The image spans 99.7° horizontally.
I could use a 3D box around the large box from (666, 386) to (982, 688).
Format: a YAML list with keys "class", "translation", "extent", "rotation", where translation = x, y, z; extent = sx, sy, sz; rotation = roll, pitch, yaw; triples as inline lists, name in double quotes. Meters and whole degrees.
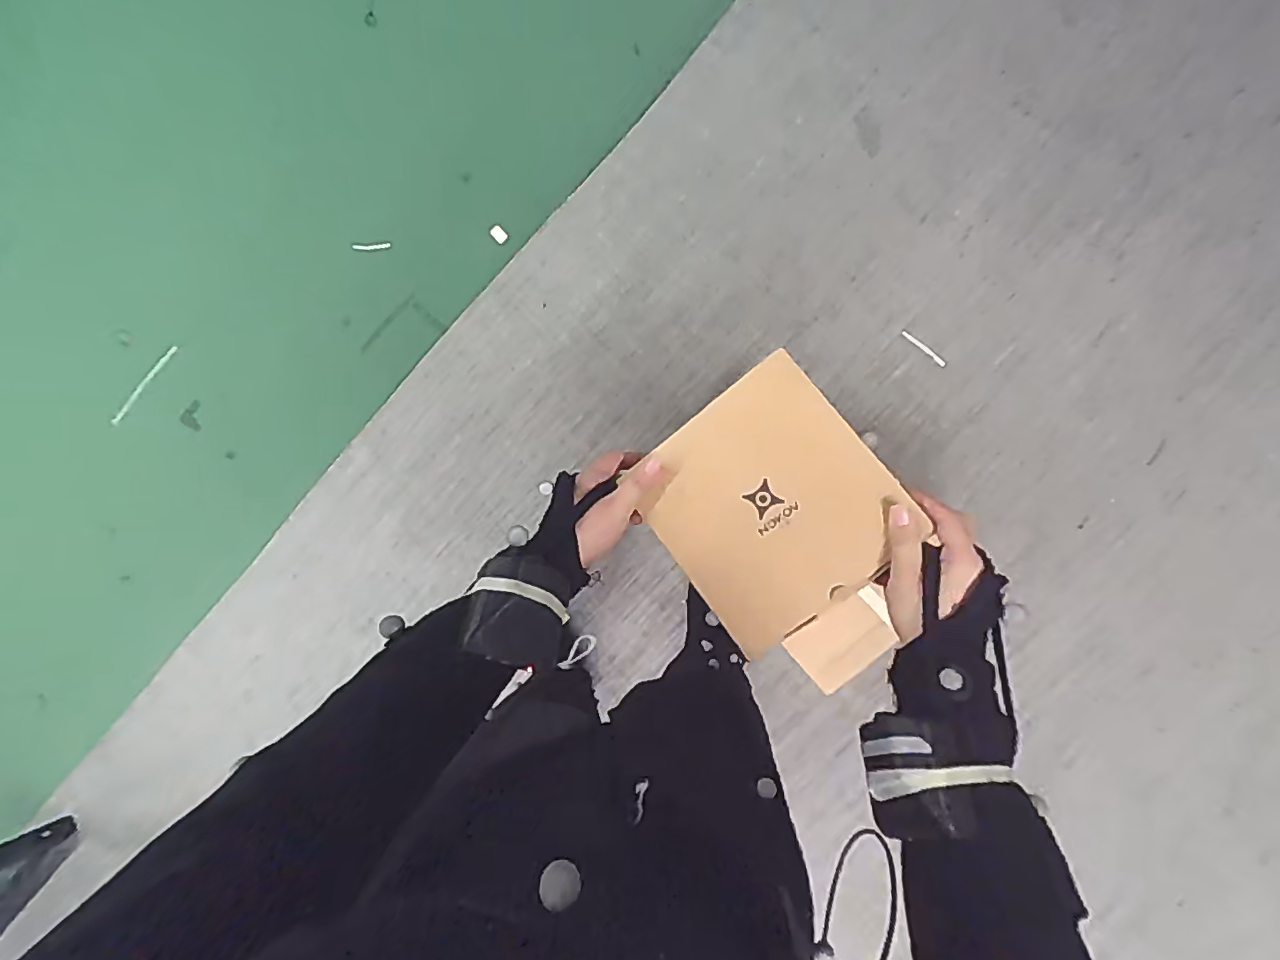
- class: "large box"
  translation: [0.310, 0.092, 1.015]
  extent: [0.320, 0.320, 0.408]
  rotation: [-43, 80, 8]
